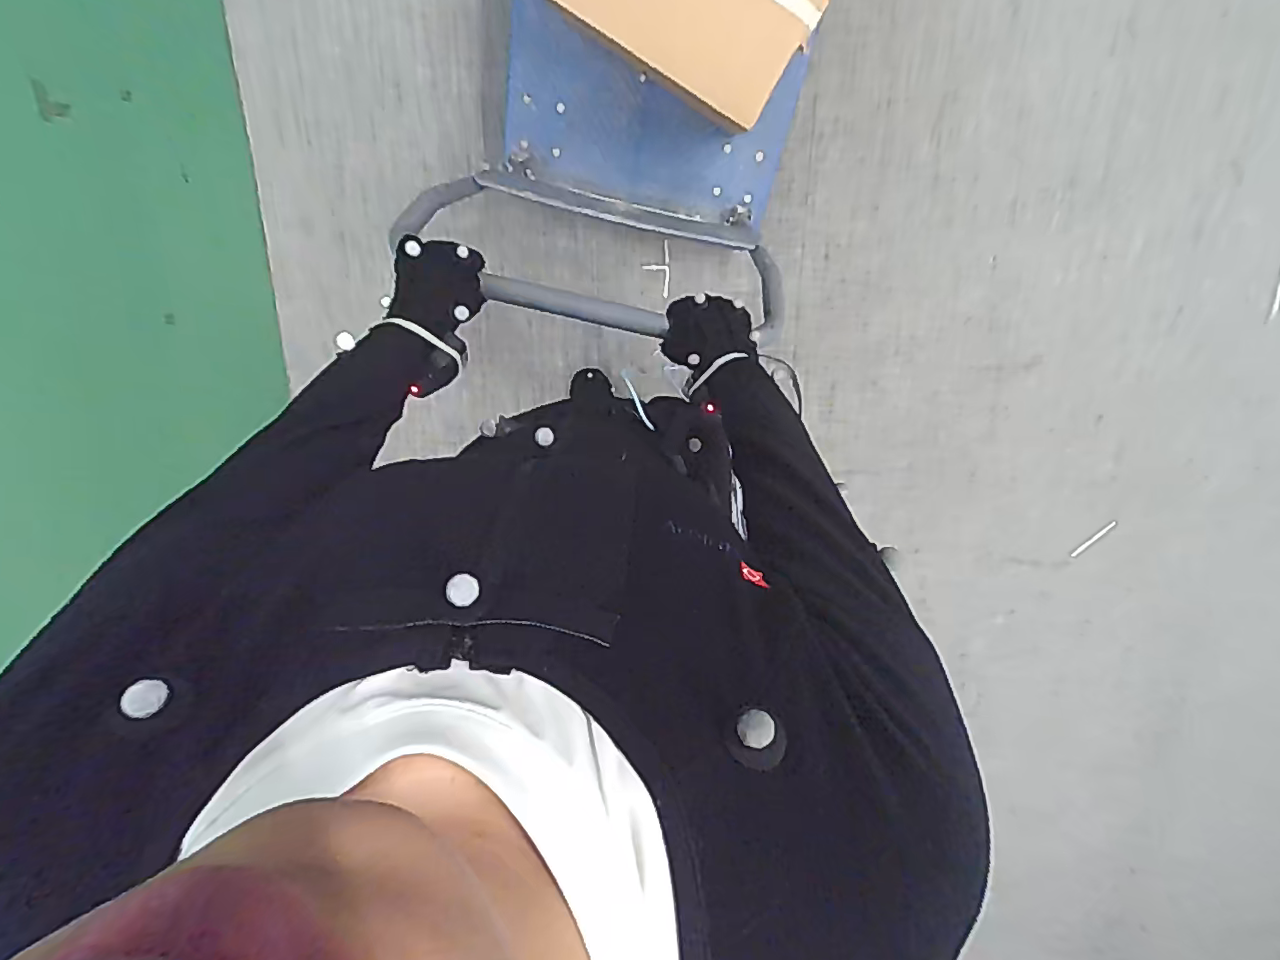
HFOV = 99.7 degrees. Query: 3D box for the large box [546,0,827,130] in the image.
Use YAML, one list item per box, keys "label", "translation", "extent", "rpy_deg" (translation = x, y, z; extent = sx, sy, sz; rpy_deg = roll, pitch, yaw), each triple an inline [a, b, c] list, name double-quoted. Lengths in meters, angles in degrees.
- label: "large box"
  translation: [0.094, -0.826, 0.869]
  extent: [0.408, 0.320, 0.320]
  rpy_deg: [27, 120, -10]
